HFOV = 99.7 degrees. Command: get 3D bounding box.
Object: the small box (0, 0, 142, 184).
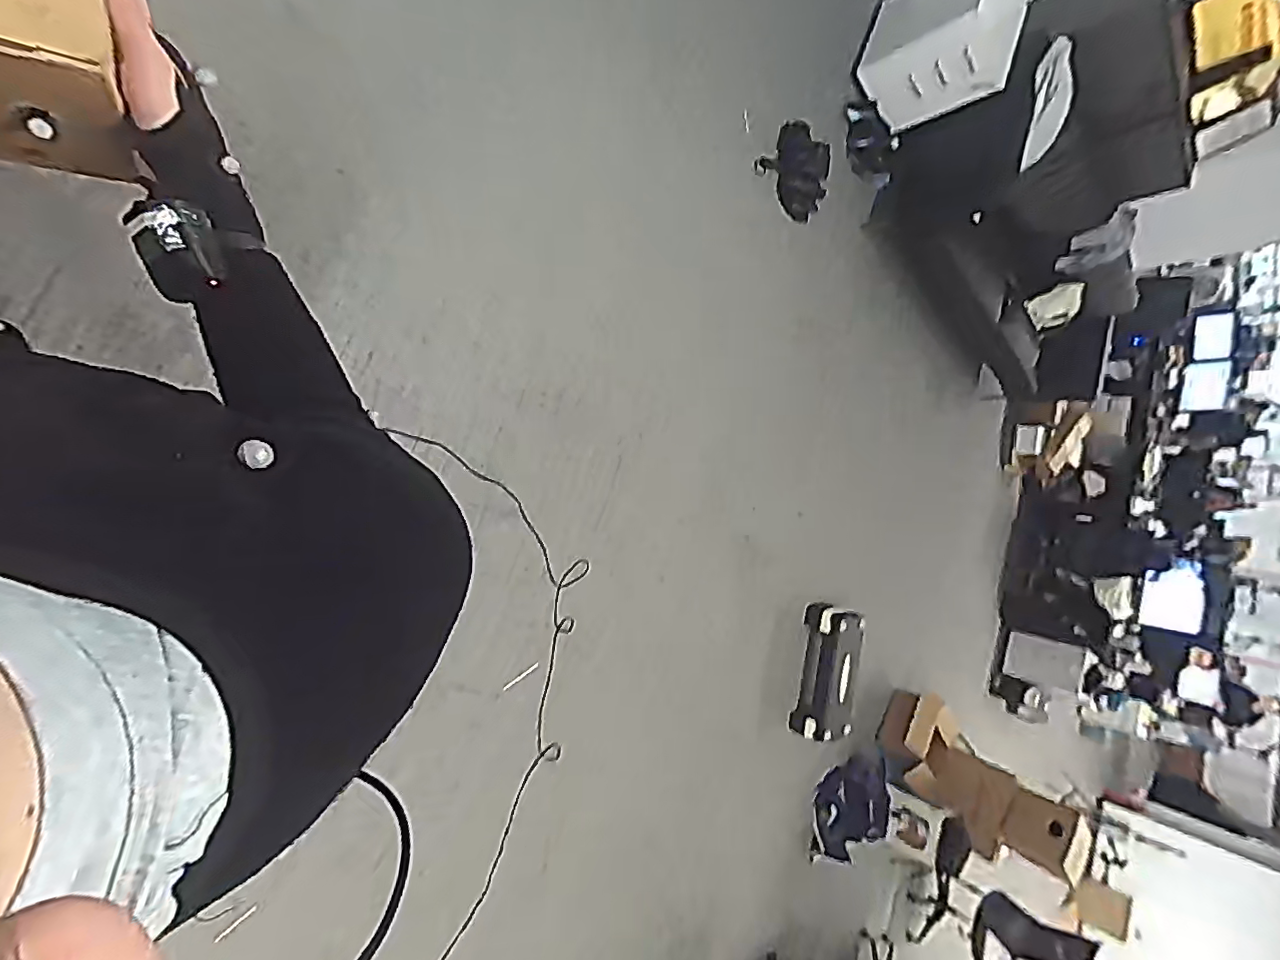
[{"bbox_3d":[-0.445,-0.327,0.348,0.168,0.176,0.179,-6,92,-39],"label":"small box"}]
